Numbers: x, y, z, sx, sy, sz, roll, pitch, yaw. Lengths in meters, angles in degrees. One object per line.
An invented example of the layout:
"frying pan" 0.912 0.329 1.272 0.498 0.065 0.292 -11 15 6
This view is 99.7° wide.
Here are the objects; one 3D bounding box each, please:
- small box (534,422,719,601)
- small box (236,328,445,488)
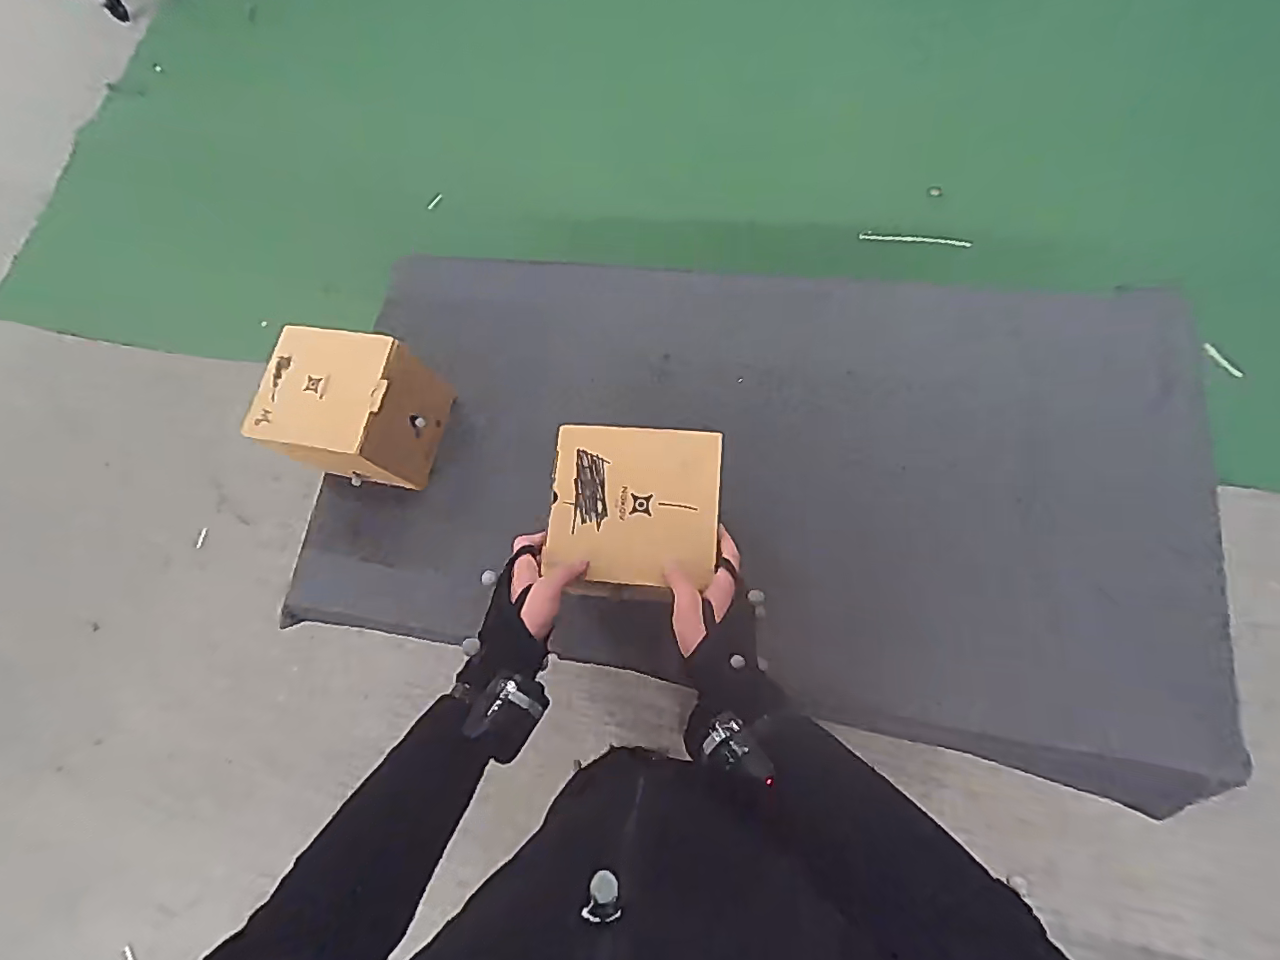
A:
"small box" -0.005 0.045 0.621 0.179 0.176 0.168 4 74 5
"small box" -0.410 -0.094 0.775 0.179 0.176 0.168 9 75 10
